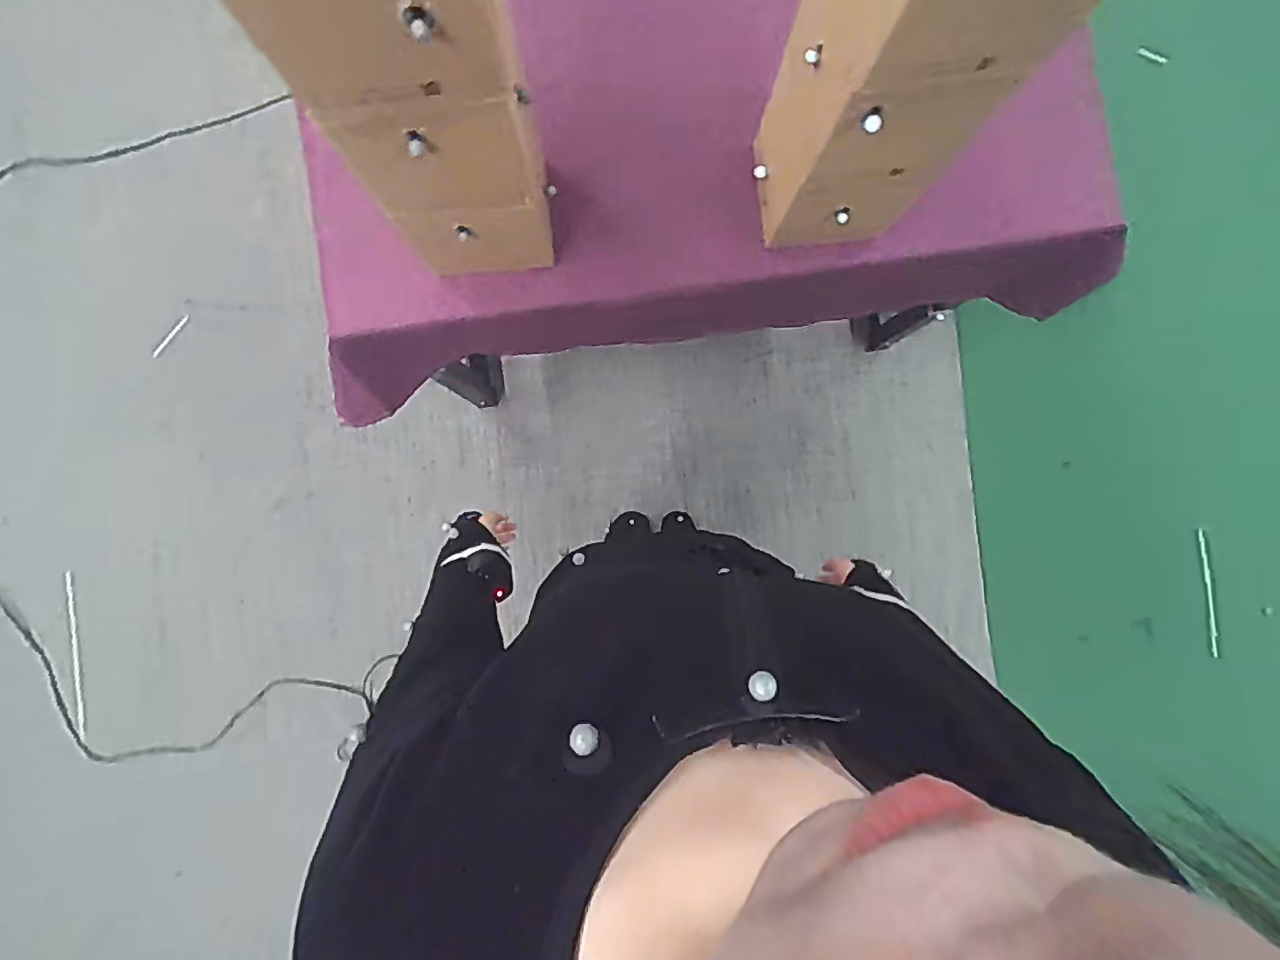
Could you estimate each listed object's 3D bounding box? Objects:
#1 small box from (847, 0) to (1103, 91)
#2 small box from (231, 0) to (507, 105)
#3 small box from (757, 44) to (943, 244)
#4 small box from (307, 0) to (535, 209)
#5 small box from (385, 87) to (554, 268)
[{"bbox_3d":[0.260,-0.435,0.395,0.168,0.176,0.179,-8,87,-1],"label":"small box"},{"bbox_3d":[-0.200,-0.404,0.385,0.168,0.176,0.179,-7,88,-2],"label":"small box"},{"bbox_3d":[0.268,-0.437,0.725,0.179,0.176,0.168,-5,88,-1],"label":"small box"},{"bbox_3d":[-0.207,-0.401,0.548,0.179,0.176,0.168,-6,88,-1],"label":"small box"},{"bbox_3d":[-0.216,-0.394,0.711,0.179,0.176,0.168,-5,89,-2],"label":"small box"}]
